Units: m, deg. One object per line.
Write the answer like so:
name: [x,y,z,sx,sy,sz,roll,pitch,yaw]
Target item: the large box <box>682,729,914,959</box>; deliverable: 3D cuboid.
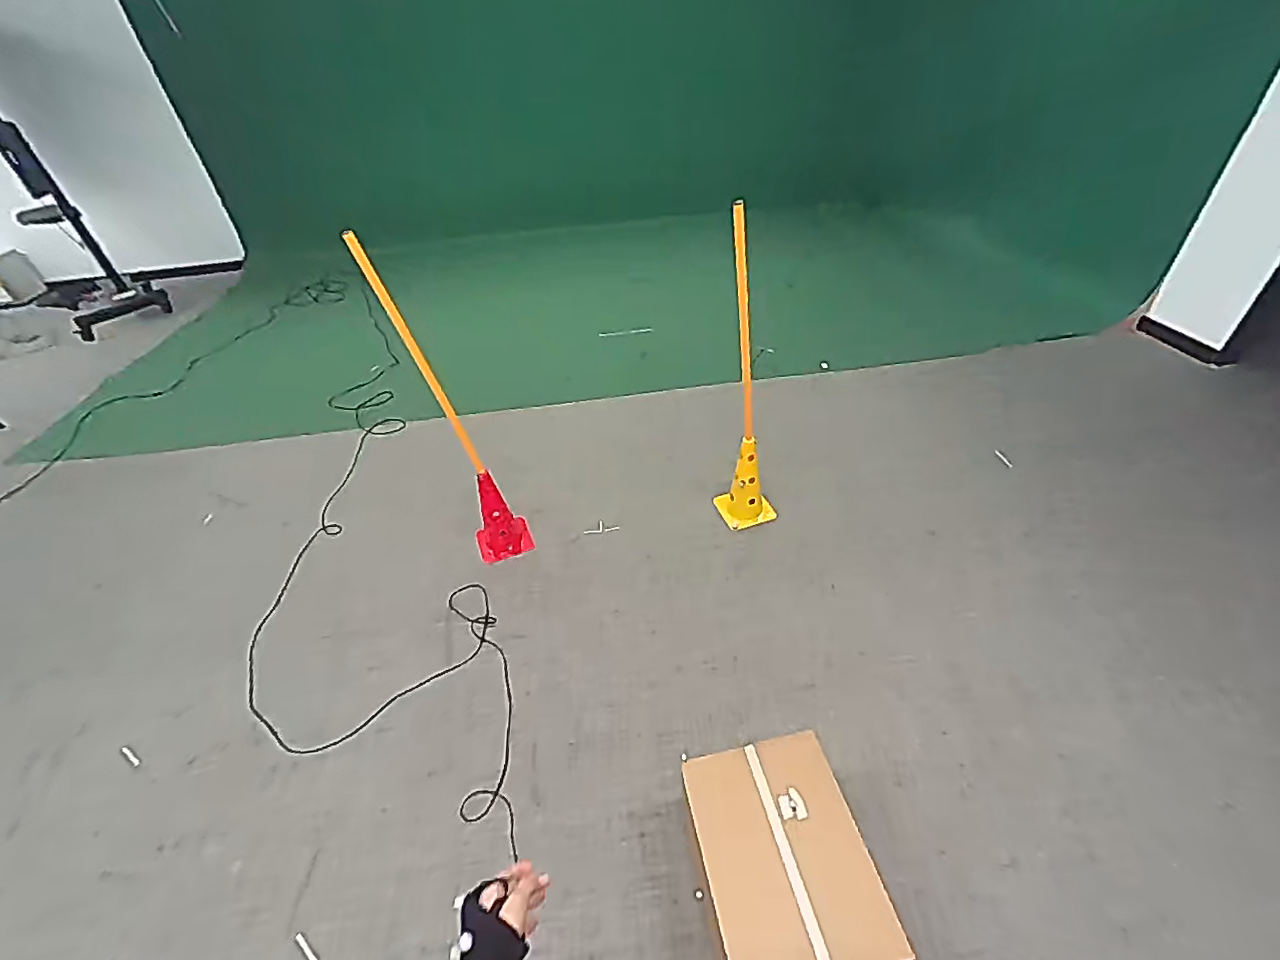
large box: [0.294,0.823,1.143,0.320,0.320,0.408,-10,39,-6]
